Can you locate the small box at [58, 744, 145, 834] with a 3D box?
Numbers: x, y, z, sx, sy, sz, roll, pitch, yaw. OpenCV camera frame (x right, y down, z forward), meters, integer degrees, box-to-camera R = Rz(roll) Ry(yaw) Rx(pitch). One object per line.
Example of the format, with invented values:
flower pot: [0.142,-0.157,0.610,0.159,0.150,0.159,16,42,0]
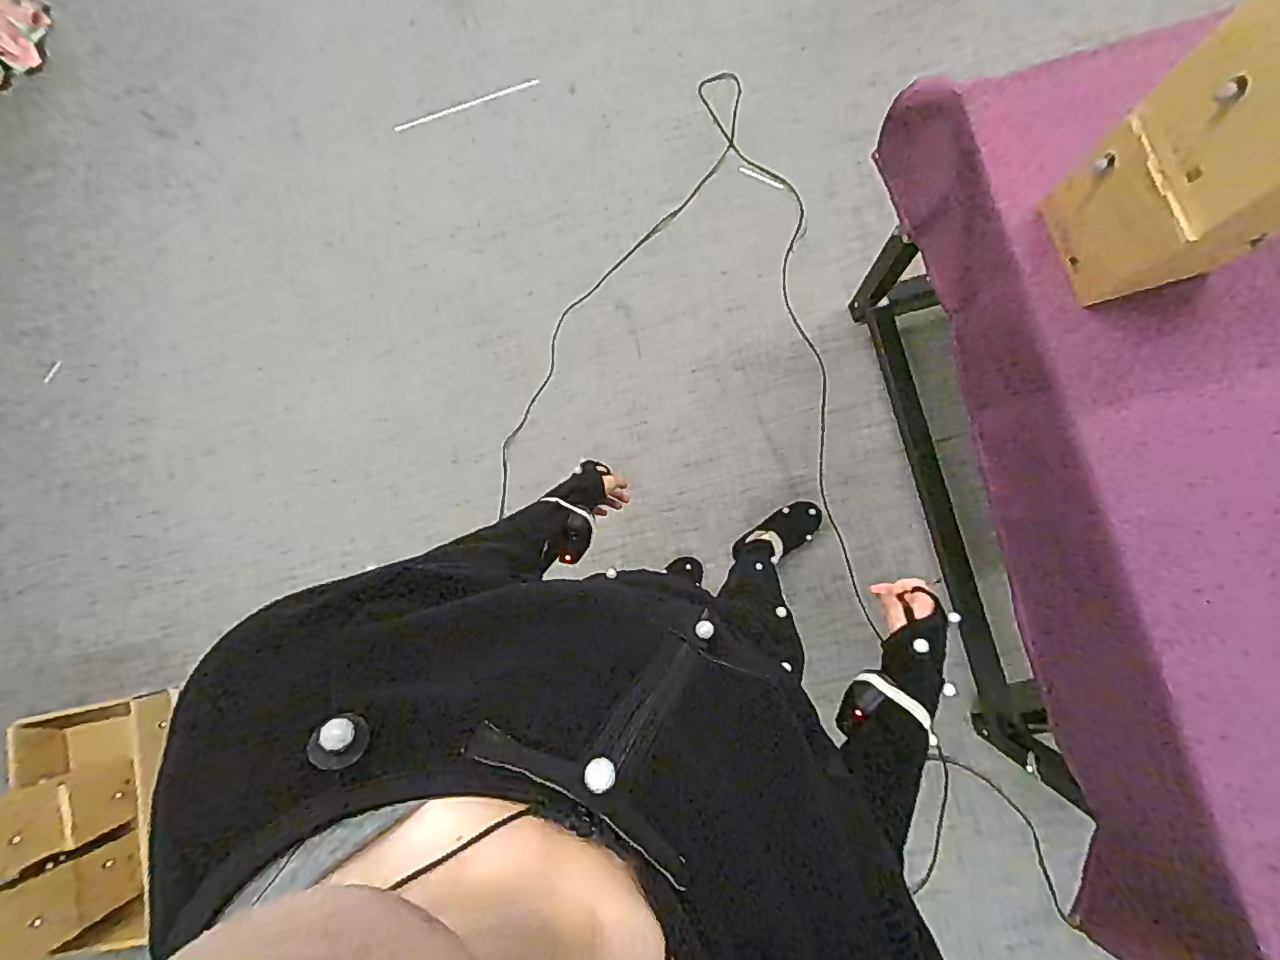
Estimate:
small box: [-1.563,0.872,1.527,0.179,0.176,0.168,-12,85,5]

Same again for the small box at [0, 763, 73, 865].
small box: [-1.602,0.855,1.368,0.168,0.176,0.179,-17,85,6]

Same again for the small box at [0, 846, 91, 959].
small box: [-1.531,1.047,1.341,0.168,0.176,0.179,-16,83,5]

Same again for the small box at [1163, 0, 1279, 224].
small box: [0.643,-0.370,0.492,0.179,0.176,0.168,-17,83,4]
